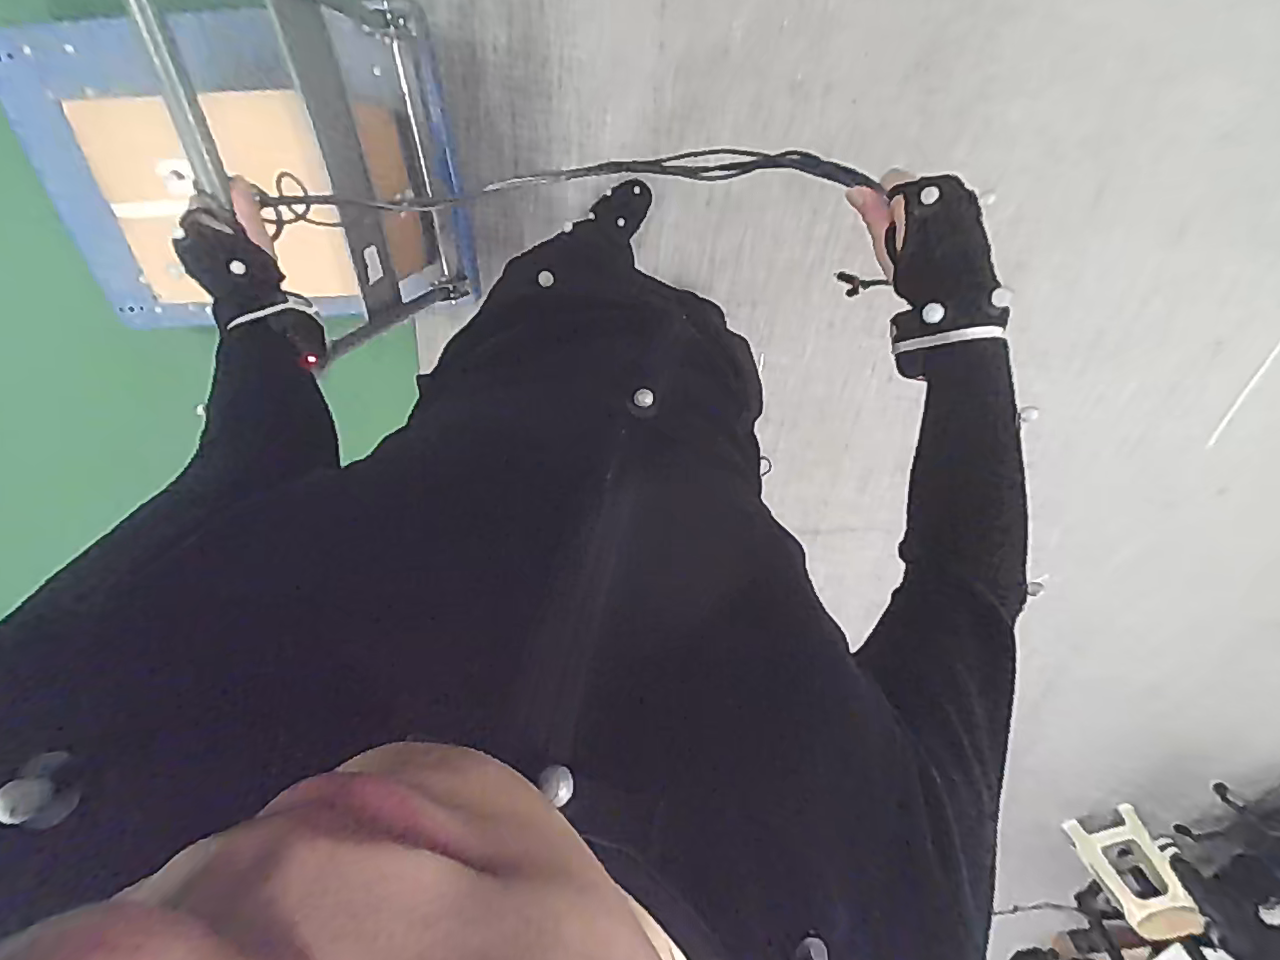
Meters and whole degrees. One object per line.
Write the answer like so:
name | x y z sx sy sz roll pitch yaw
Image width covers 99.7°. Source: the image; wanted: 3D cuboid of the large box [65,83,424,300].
large box | -0.695 -0.550 1.043 0.408 0.320 0.320 -2 121 0
